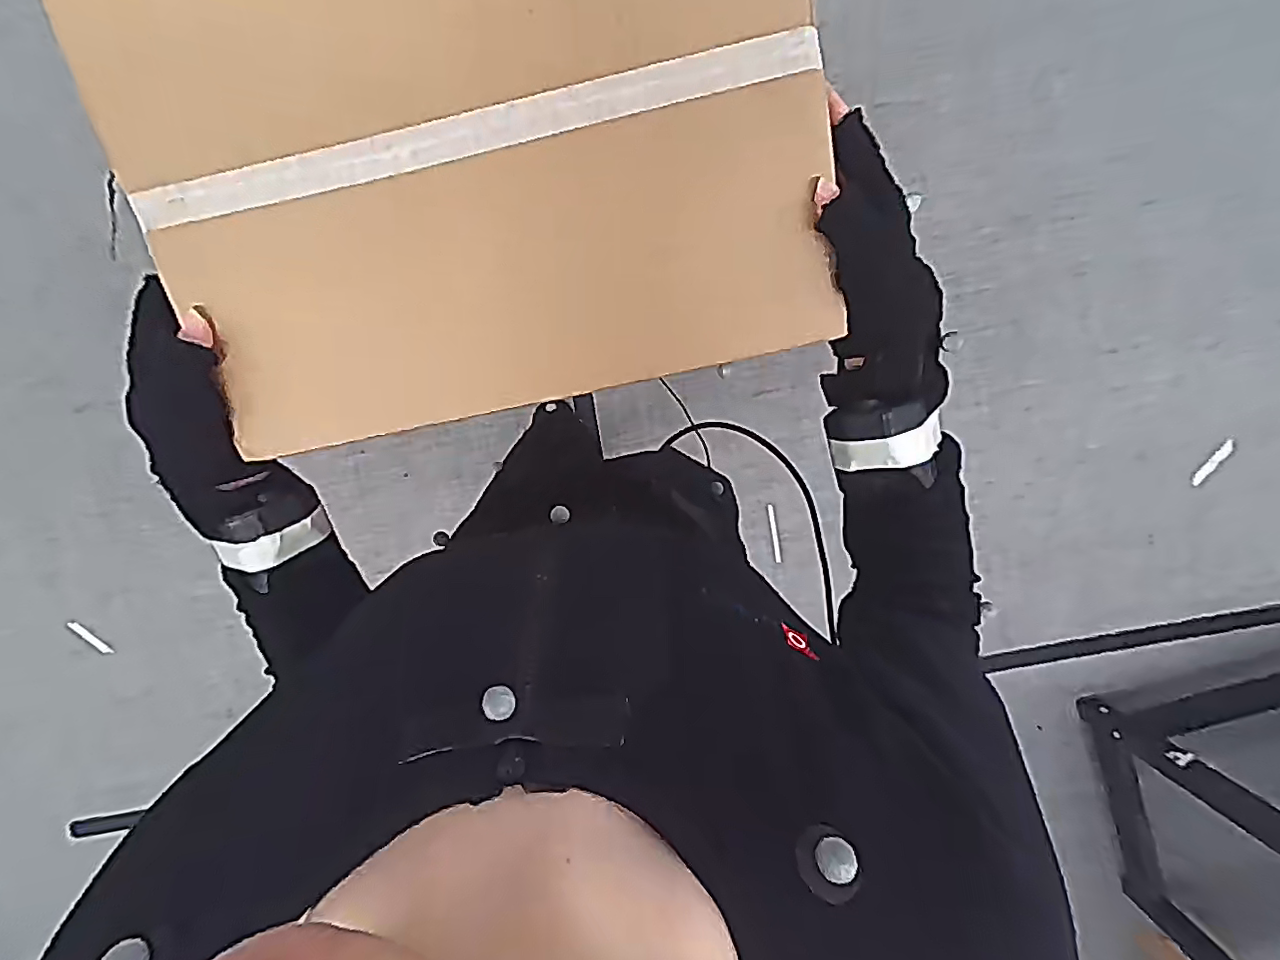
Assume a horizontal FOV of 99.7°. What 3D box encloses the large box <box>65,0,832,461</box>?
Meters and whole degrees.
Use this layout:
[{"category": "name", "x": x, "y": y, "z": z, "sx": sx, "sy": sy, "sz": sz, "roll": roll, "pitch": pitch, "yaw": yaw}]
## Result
[{"category": "large box", "x": -0.099, "y": -0.239, "z": 0.464, "sx": 0.408, "sy": 0.320, "sz": 0.320, "roll": -12, "pitch": 105, "yaw": 3}]
